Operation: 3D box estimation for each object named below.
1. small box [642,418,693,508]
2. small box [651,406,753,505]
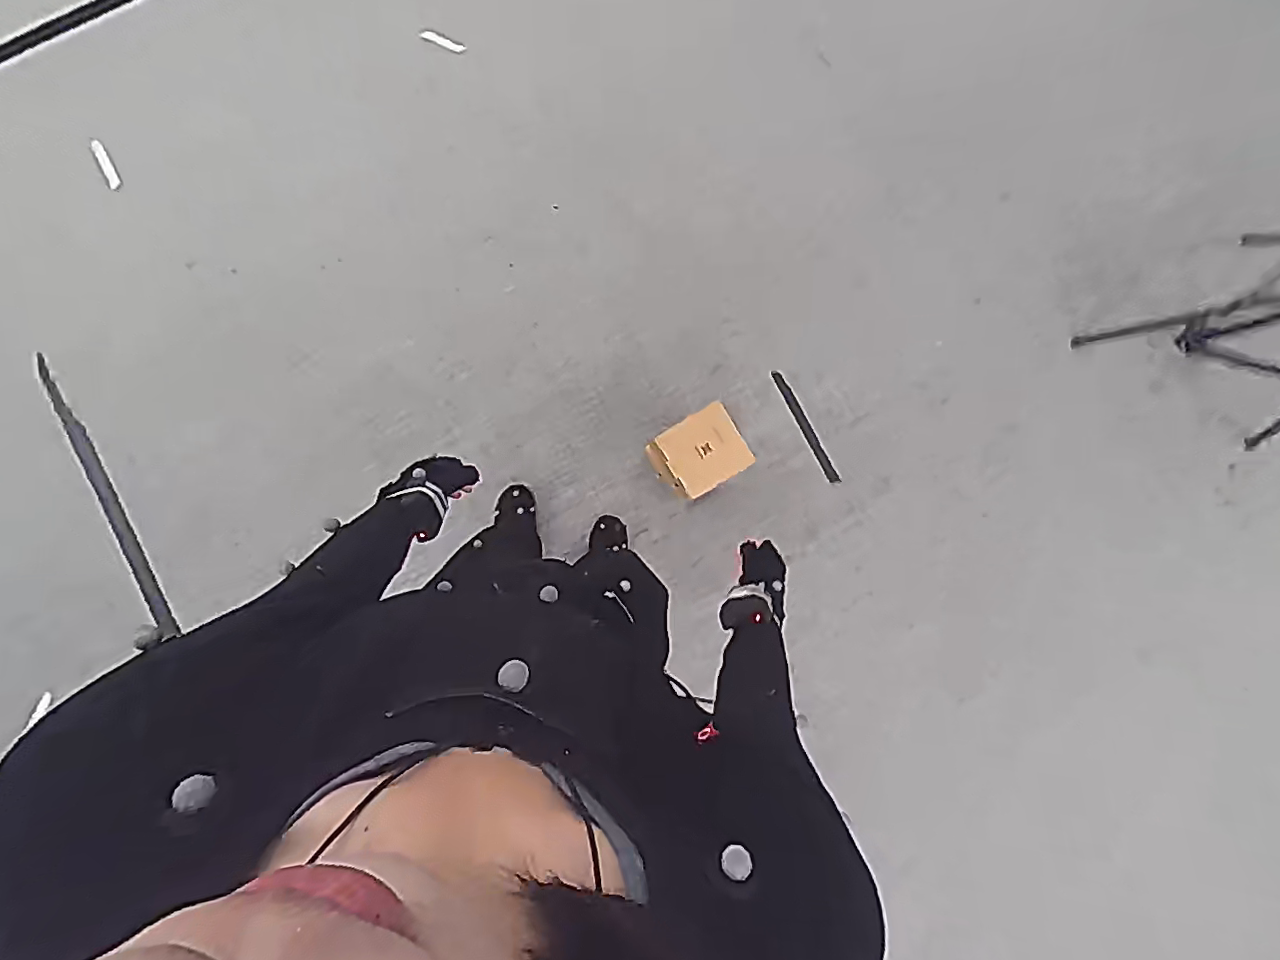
[{"bbox_3d":[0.120,-0.040,1.449,0.168,0.176,0.179,-35,87,-3],"label":"small box"},{"bbox_3d":[0.138,-0.052,1.287,0.179,0.176,0.168,-31,90,-4],"label":"small box"}]
